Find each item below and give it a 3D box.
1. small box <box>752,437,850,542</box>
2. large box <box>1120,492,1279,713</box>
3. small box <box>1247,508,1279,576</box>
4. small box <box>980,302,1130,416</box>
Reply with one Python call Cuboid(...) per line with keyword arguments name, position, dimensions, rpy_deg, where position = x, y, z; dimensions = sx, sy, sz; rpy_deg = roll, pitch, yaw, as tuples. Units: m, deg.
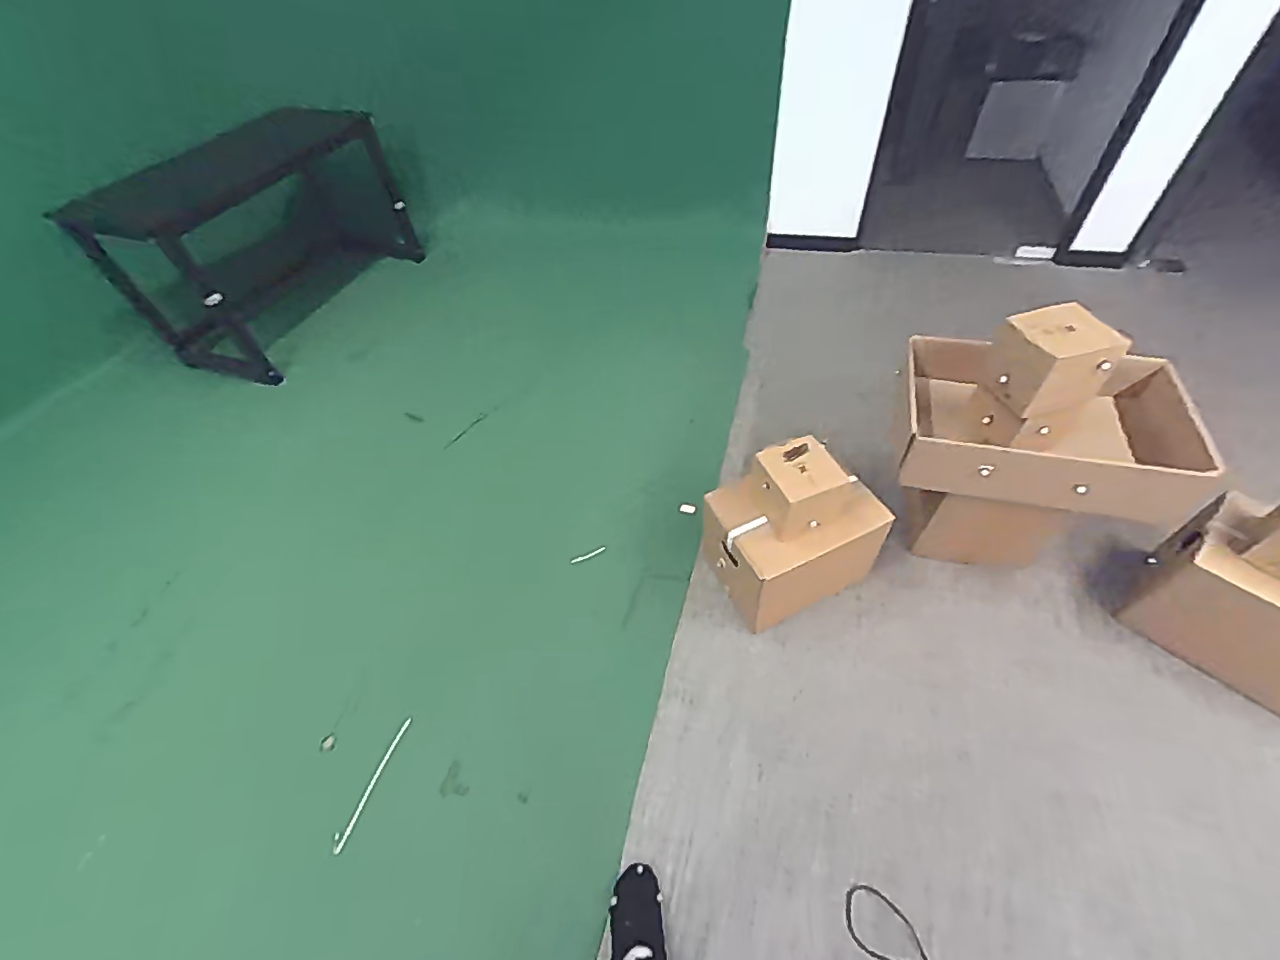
Cuboid(name="small box", position=(0.397, 0.026, 1.373), dimensions=(0.168, 0.176, 0.179), rpy_deg=(-19, 51, -10))
Cuboid(name="large box", position=(1.548, 0.310, 1.342), dimensions=(0.320, 0.320, 0.408), rpy_deg=(-38, 58, -24))
Cuboid(name="small box", position=(1.507, 0.126, 1.181), dimensions=(0.179, 0.176, 0.168), rpy_deg=(-34, 55, -22))
Cuboid(name="small box", position=(0.917, -0.269, 1.217), dimensions=(0.179, 0.176, 0.168), rpy_deg=(-14, 49, -4))
